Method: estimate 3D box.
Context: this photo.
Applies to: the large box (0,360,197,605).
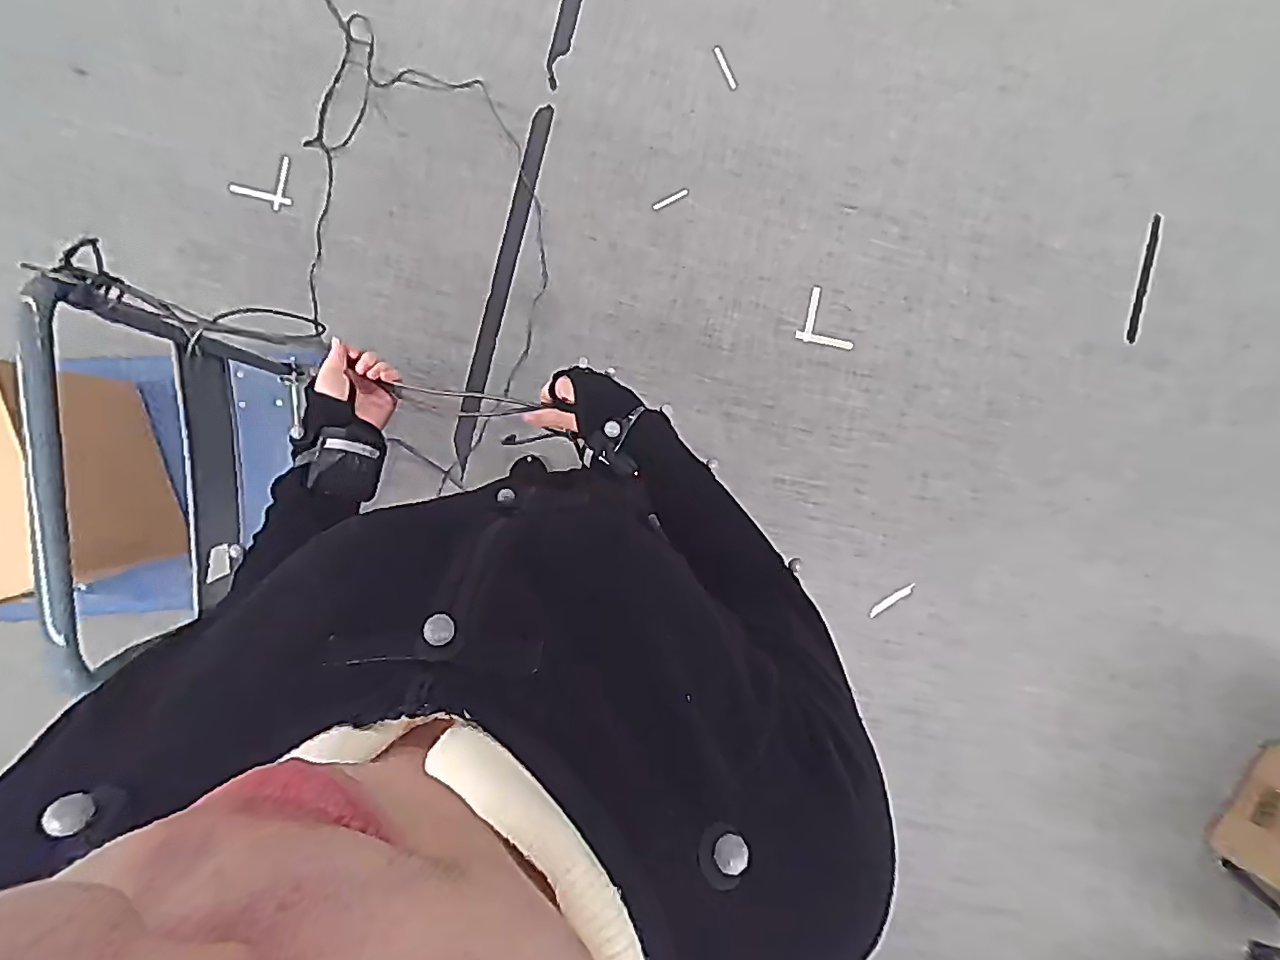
[{"bbox_3d":[-1.206,0.017,1.078,0.320,0.320,0.408,-17,93,-4],"label":"large box"}]
